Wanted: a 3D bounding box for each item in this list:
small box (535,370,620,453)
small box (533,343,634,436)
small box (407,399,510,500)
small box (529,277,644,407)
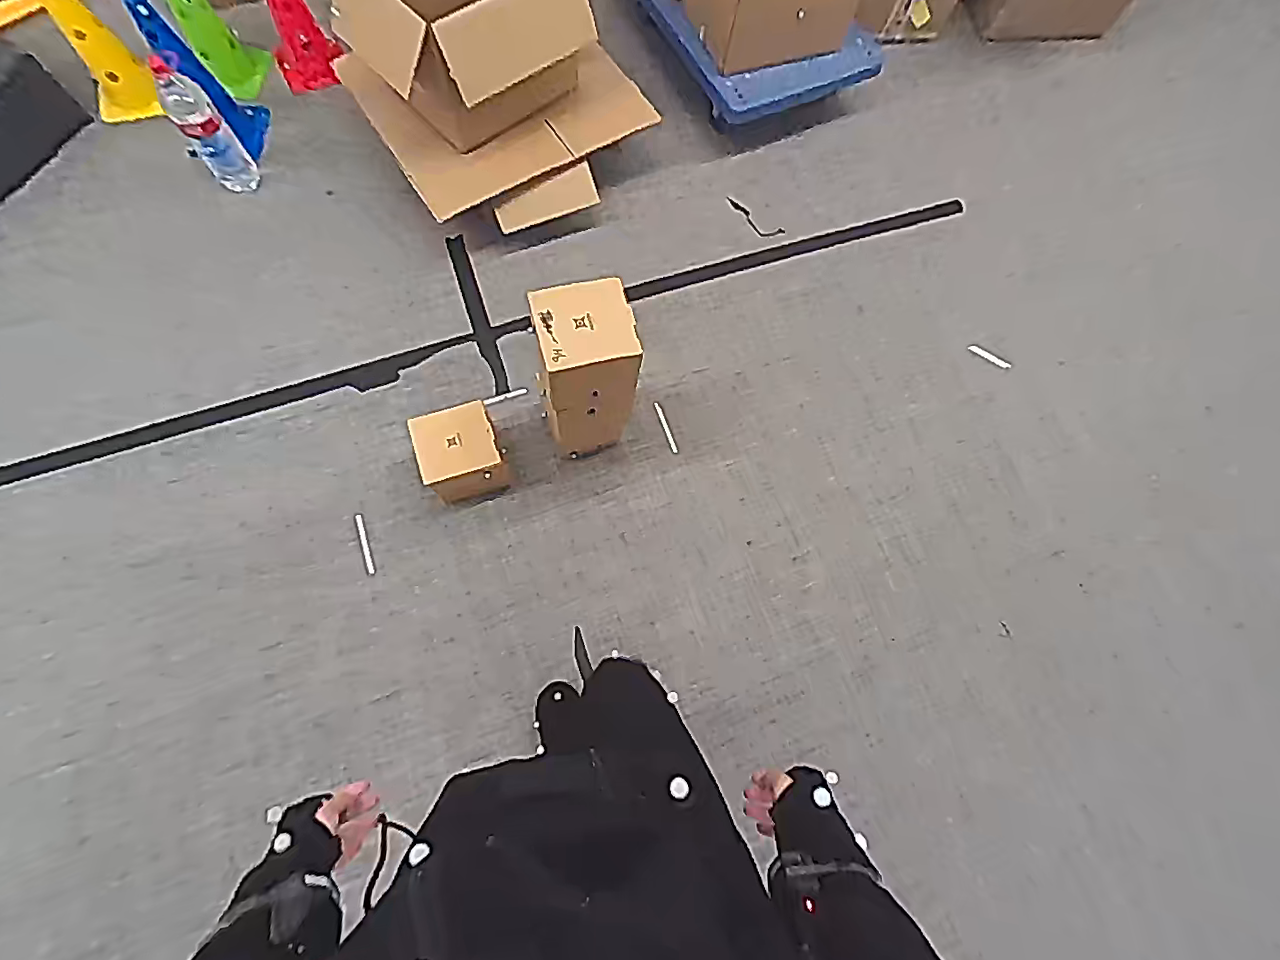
[{"bbox_3d":[-0.151,-0.182,1.351,0.168,0.176,0.179,-19,76,-12],"label":"small box"},{"bbox_3d":[-0.124,-0.214,1.191,0.179,0.176,0.168,-17,77,-11],"label":"small box"},{"bbox_3d":[-0.426,-0.067,1.289,0.179,0.176,0.168,-18,76,-11],"label":"small box"},{"bbox_3d":[-0.106,-0.257,1.033,0.179,0.176,0.168,-13,76,-11],"label":"small box"}]
